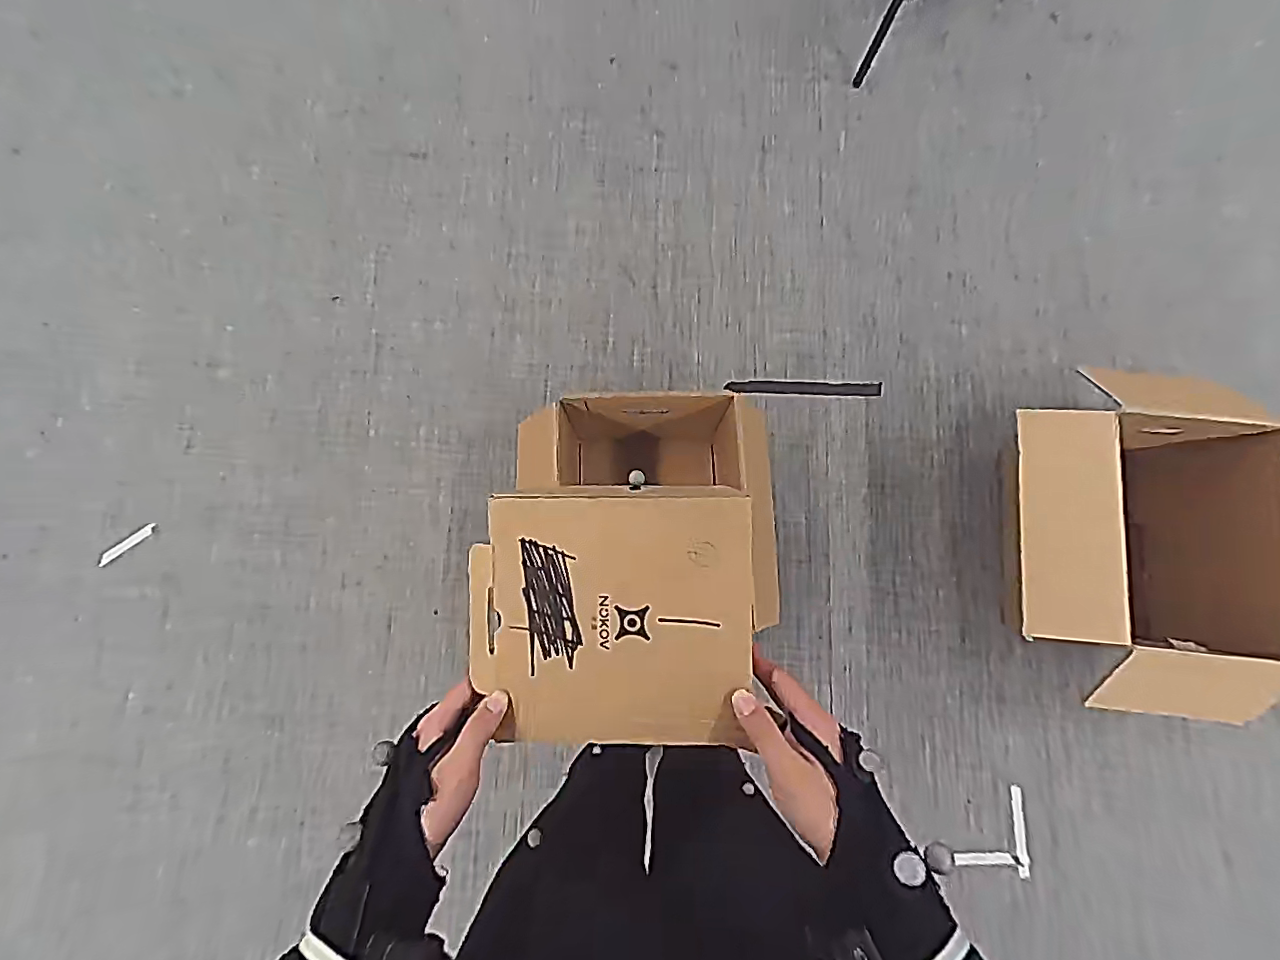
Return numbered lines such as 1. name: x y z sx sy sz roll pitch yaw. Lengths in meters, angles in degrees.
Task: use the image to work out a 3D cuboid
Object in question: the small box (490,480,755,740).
1. small box: -0.008 0.086 0.434 0.179 0.176 0.168 0 91 2
